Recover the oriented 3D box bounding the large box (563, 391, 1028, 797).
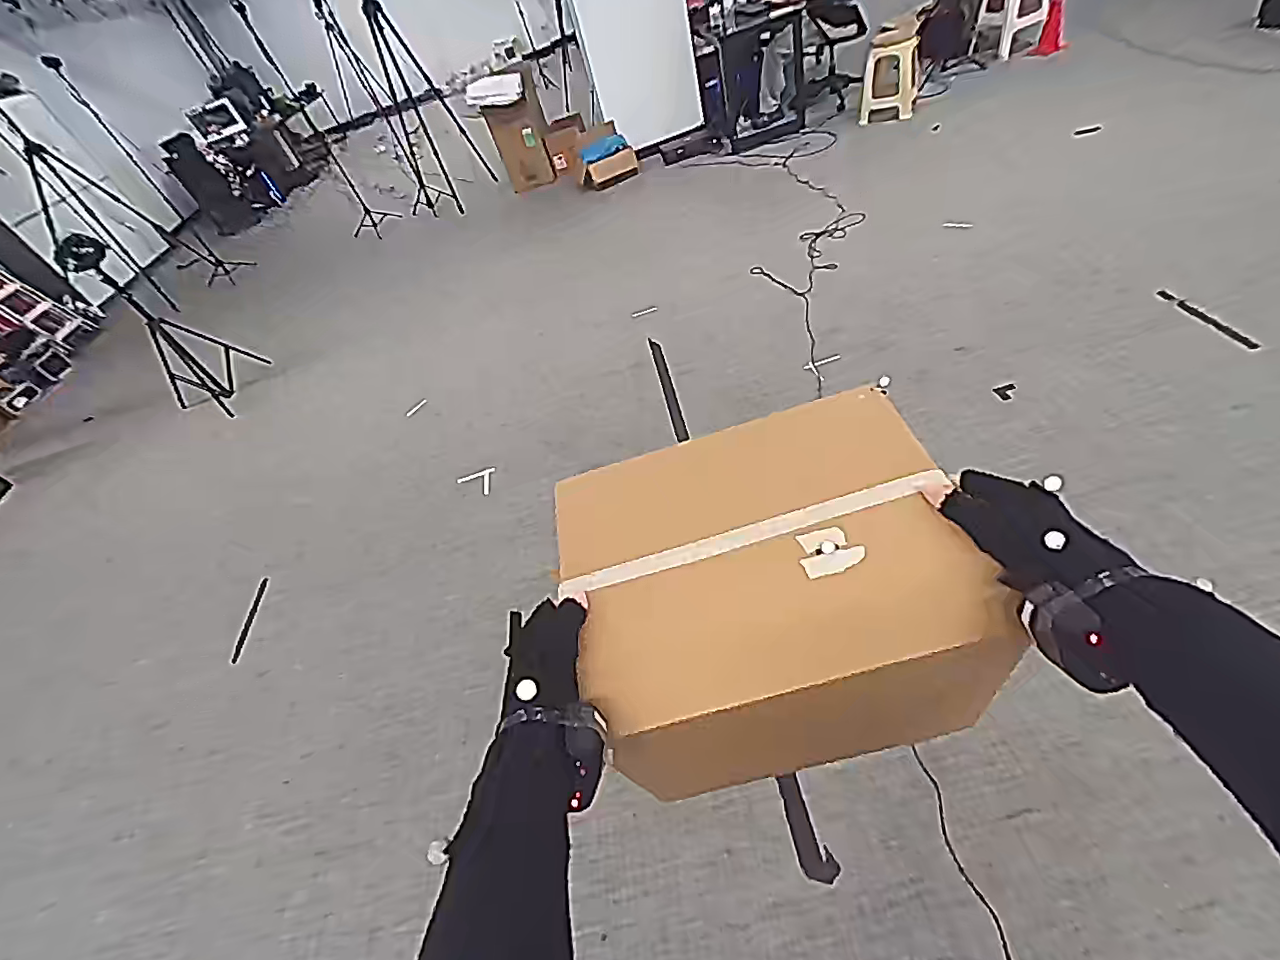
[{"bbox_3d":[0.153,0.153,0.678,0.408,0.320,0.320,-17,49,5],"label":"large box"}]
